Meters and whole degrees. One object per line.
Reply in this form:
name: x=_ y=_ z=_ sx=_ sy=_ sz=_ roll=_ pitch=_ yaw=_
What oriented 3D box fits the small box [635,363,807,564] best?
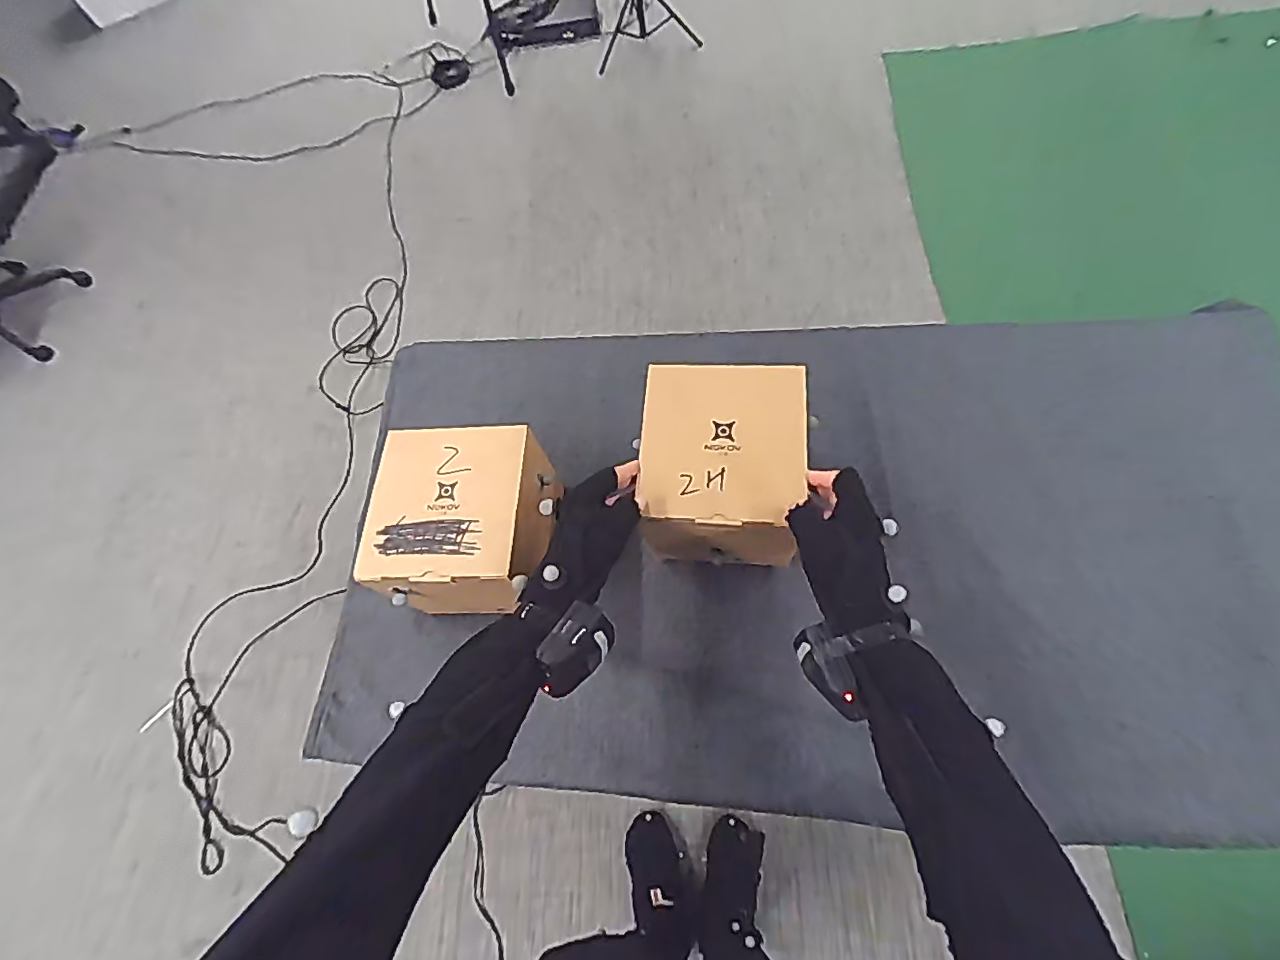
small box: x=0.093 y=-0.013 z=0.617 sx=0.168 sy=0.176 sz=0.179 roll=2 pitch=70 yaw=9
